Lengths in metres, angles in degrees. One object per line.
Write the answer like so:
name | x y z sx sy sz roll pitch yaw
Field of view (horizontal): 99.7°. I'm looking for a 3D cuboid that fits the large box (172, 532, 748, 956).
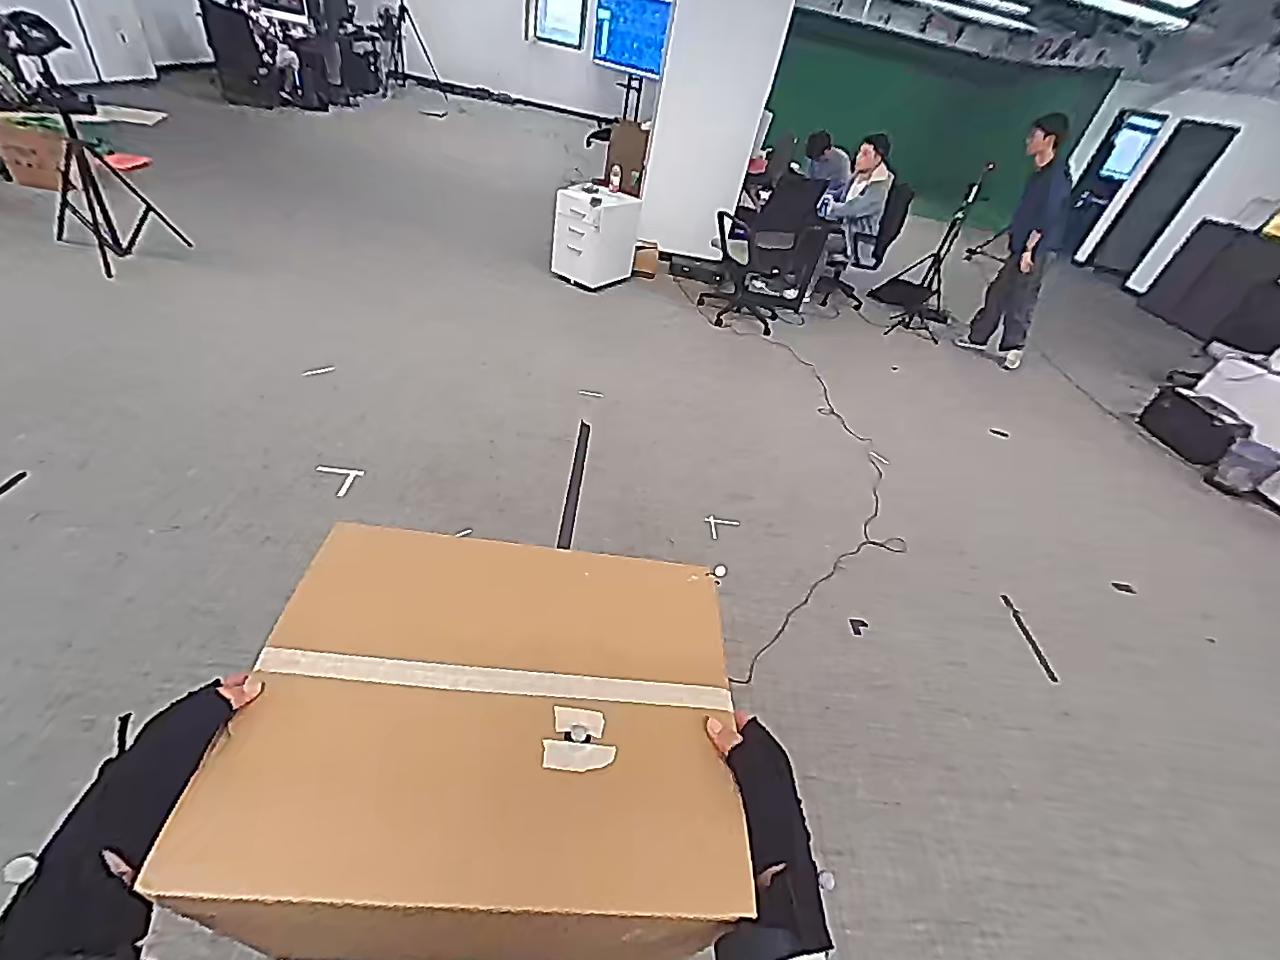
large box | -0.142 0.289 0.583 0.408 0.320 0.320 8 43 -7
